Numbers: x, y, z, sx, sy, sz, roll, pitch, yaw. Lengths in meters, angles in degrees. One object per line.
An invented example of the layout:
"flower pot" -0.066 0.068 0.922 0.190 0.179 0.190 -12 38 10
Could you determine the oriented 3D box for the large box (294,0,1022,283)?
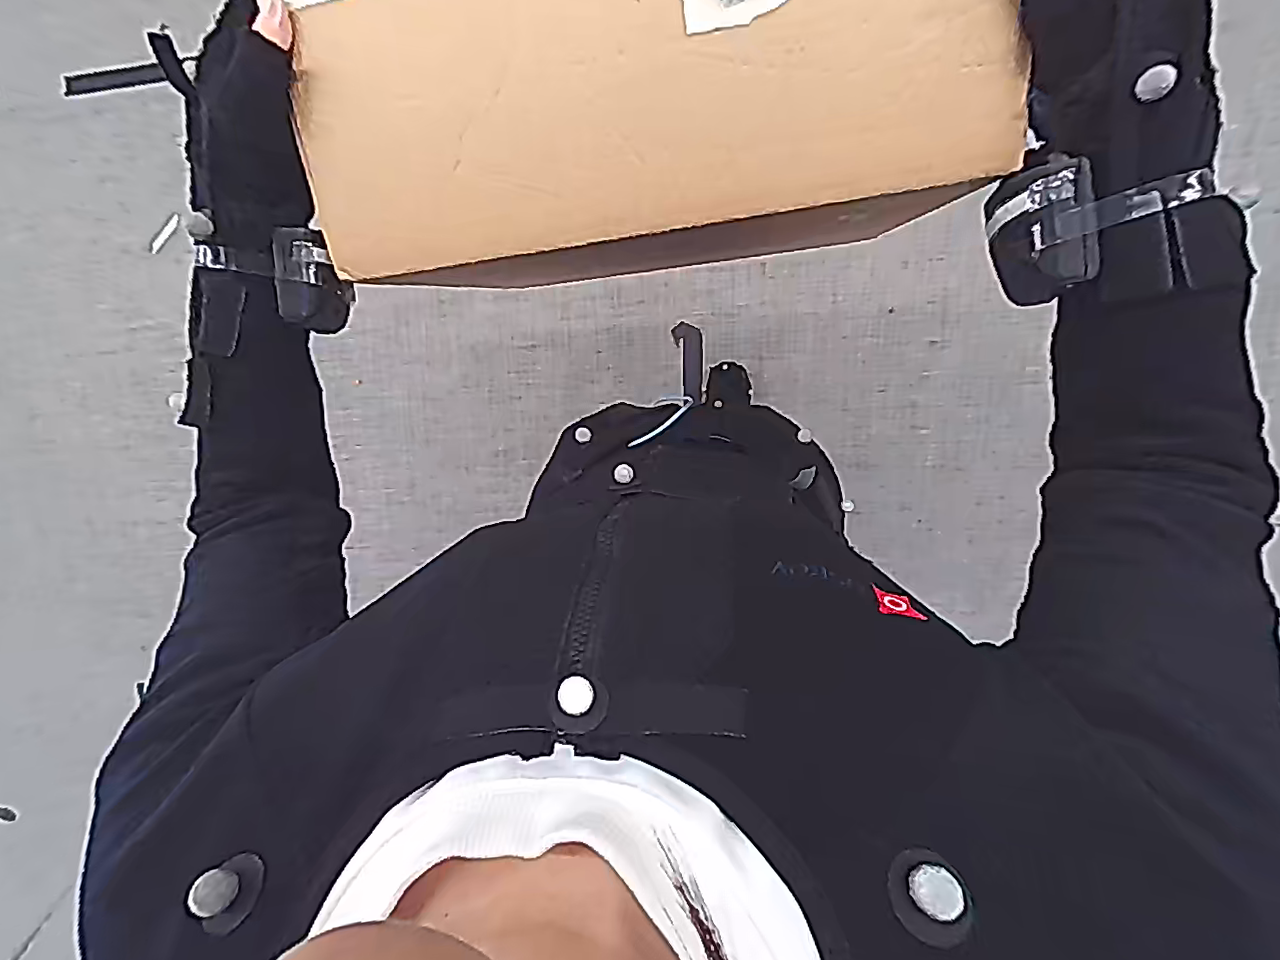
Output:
"large box" 0.009 -0.350 0.423 0.408 0.320 0.320 -5 108 11
